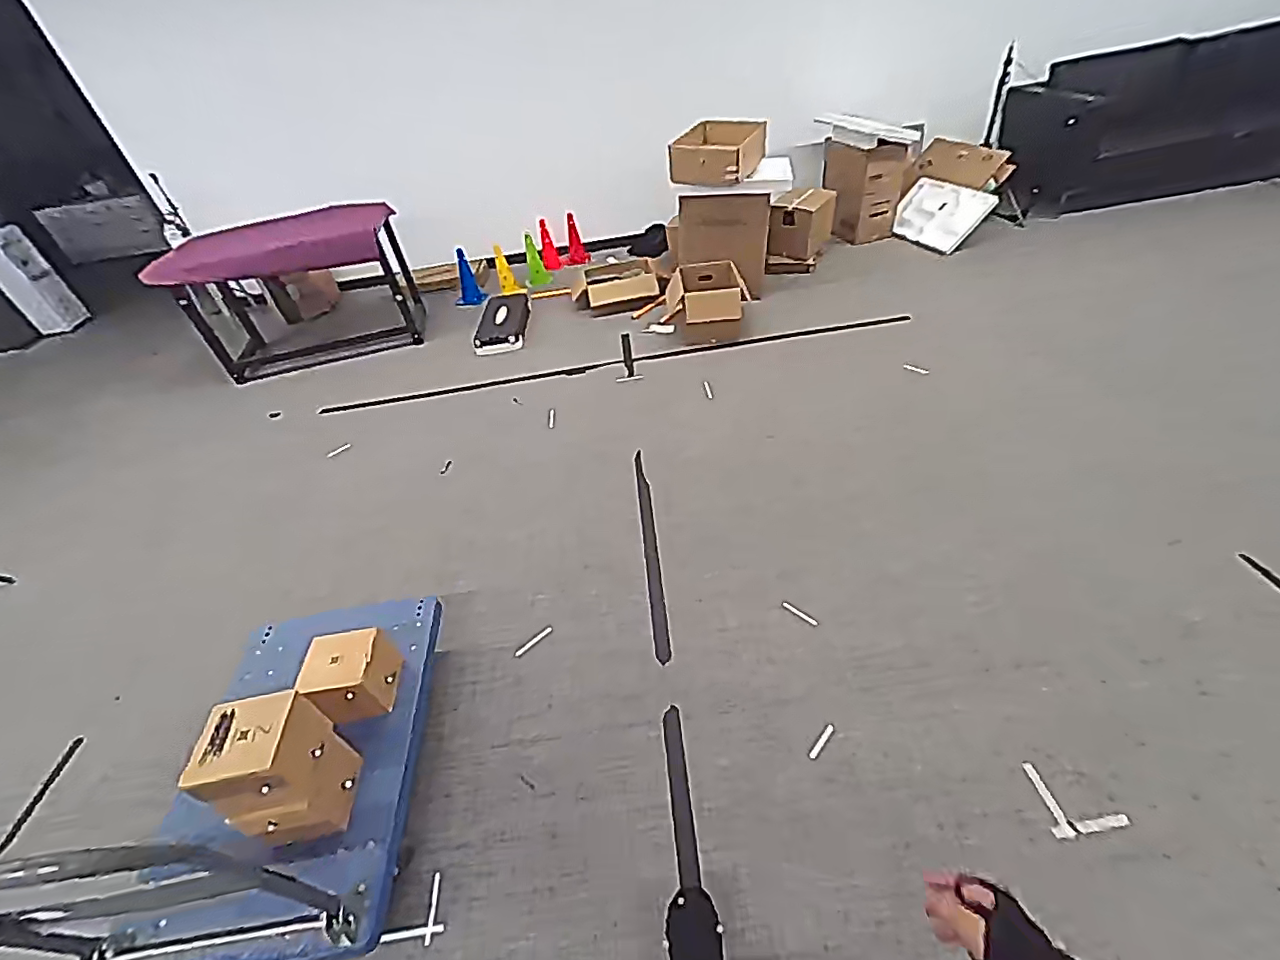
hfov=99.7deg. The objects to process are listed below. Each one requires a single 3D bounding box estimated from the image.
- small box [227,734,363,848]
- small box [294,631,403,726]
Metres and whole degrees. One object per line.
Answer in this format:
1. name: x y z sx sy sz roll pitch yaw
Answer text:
1. small box: -0.770 0.710 1.229 0.179 0.176 0.168 -10 41 -2
2. small box: -0.762 0.530 1.435 0.179 0.176 0.168 -10 41 -1
